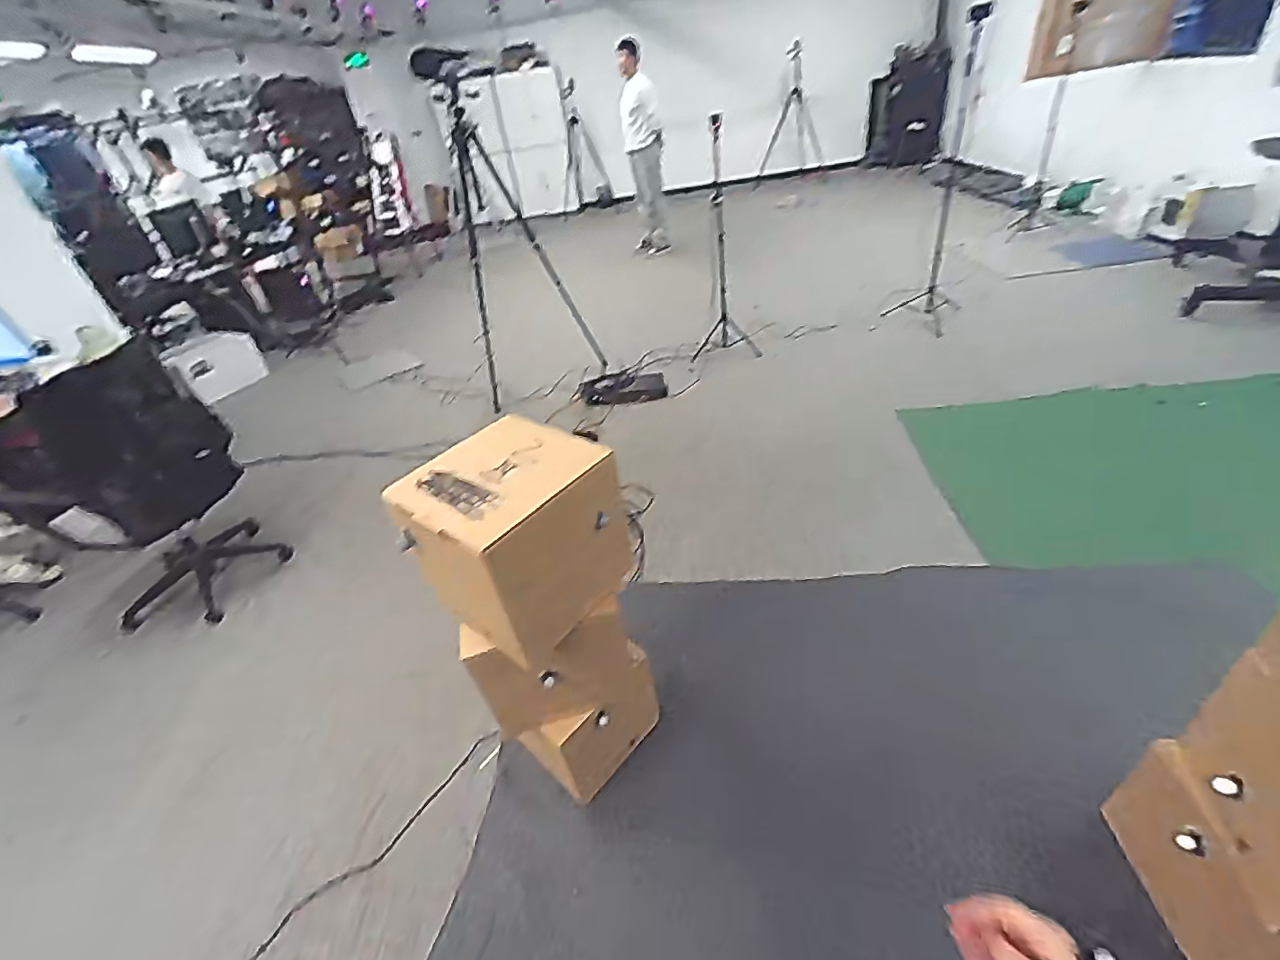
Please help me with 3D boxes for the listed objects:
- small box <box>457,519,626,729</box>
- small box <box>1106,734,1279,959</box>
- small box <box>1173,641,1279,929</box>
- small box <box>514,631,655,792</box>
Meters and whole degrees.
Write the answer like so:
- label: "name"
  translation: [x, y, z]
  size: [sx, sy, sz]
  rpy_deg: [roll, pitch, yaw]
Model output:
- label: "small box"
  translation: [-0.122, 0.183, 0.693]
  size: [0.179, 0.176, 0.168]
  rpy_deg: [-16, 37, -8]
- label: "small box"
  translation: [0.621, 0.377, 0.534]
  size: [0.168, 0.176, 0.179]
  rpy_deg: [-5, 36, 8]
- label: "small box"
  translation: [0.597, 0.255, 0.428]
  size: [0.179, 0.176, 0.168]
  rpy_deg: [1, 36, 17]
- label: "small box"
  translation: [-0.098, 0.311, 0.794]
  size: [0.179, 0.176, 0.168]
  rpy_deg: [24, 48, 37]
